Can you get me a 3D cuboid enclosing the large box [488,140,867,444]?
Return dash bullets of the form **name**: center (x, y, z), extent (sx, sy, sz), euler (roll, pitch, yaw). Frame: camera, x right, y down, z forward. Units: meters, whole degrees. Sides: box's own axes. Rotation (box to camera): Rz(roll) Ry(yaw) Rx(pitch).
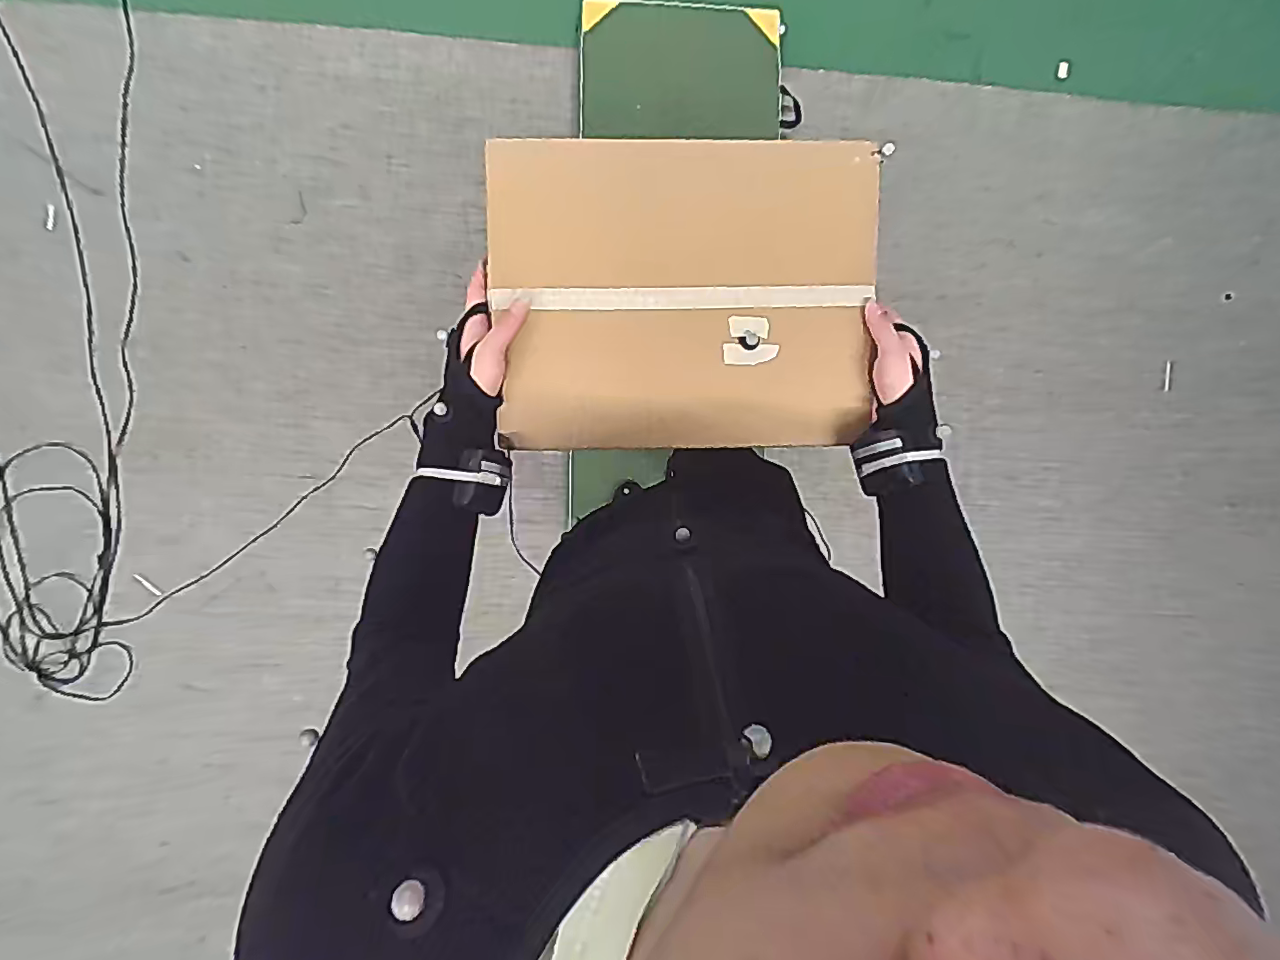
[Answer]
- **large box**: center (0.037, -0.214, 0.724), extent (0.408, 0.320, 0.320), euler (-1, 97, -3)
